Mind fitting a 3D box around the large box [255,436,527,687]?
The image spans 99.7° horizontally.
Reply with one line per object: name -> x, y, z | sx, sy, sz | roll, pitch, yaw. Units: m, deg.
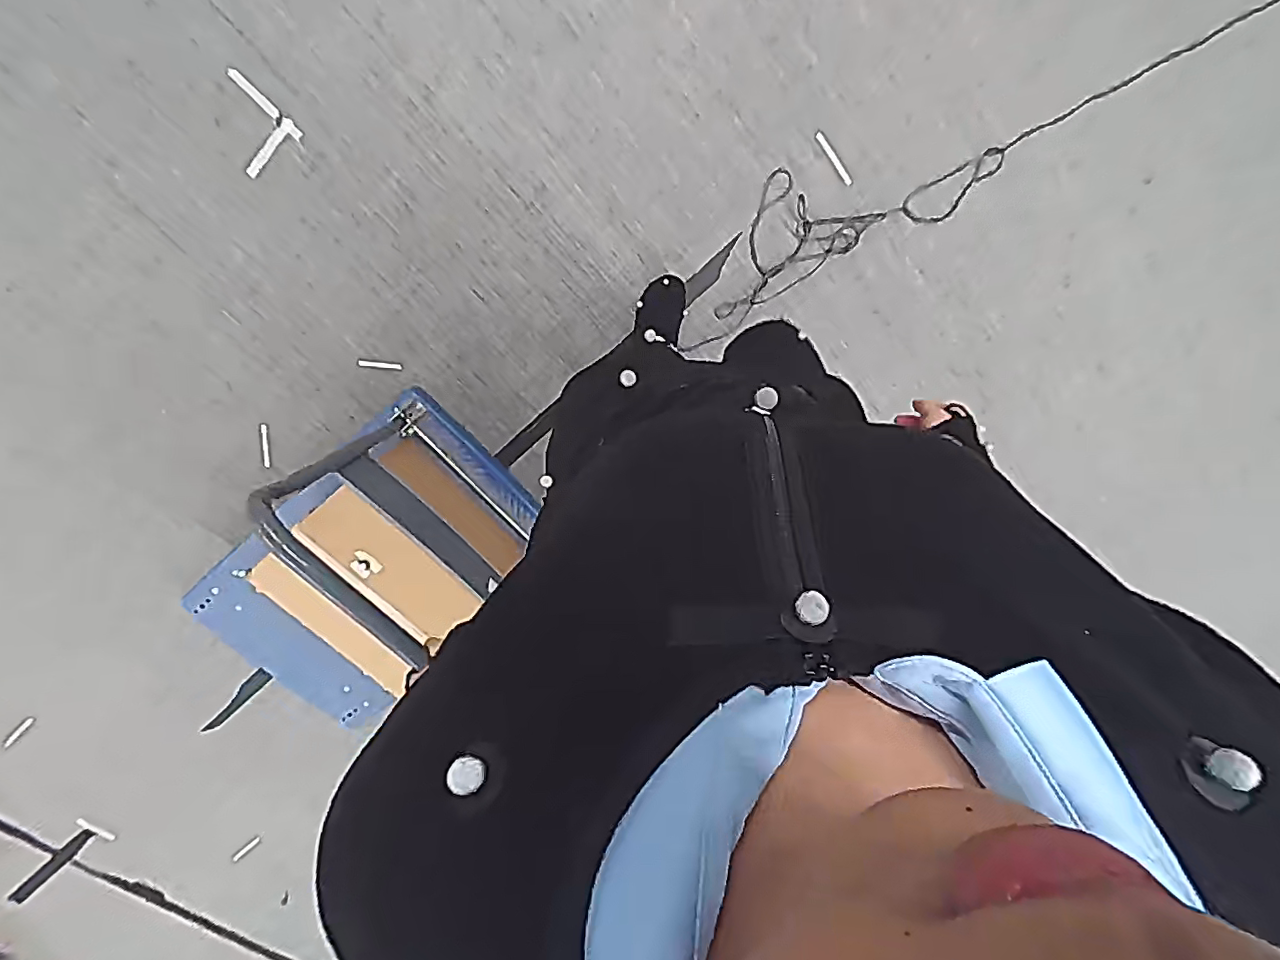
large box -> -0.522, 0.171, 1.230 | 0.320, 0.320, 0.408 | -39, 106, 10
